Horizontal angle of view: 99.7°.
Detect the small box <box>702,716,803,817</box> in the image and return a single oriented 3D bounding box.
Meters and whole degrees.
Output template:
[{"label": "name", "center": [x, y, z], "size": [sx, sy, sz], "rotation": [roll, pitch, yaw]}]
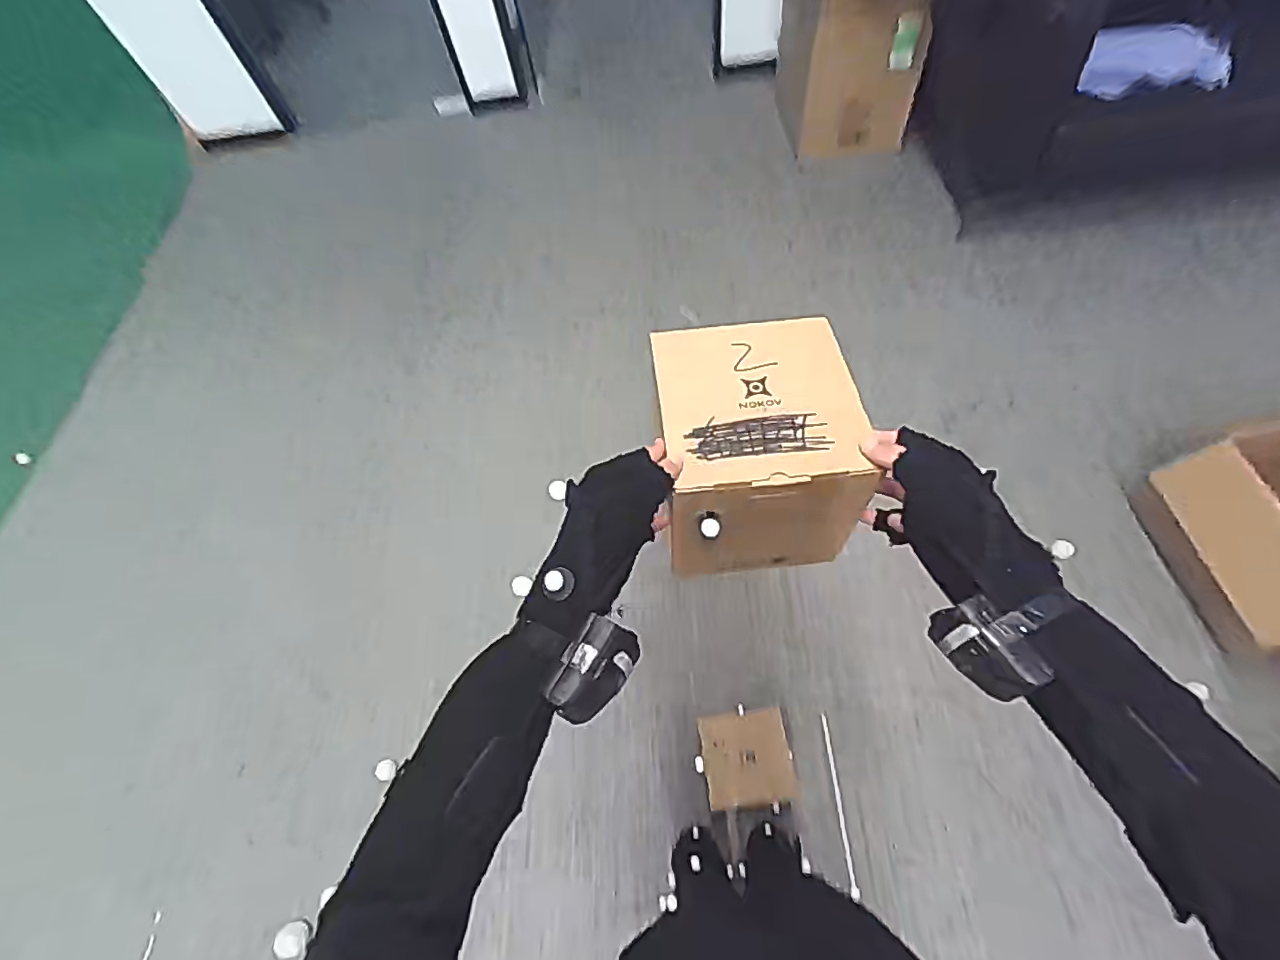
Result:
[{"label": "small box", "center": [0.228, 0.607, 1.148], "size": [0.179, 0.176, 0.168], "rotation": [-9, 59, 3]}]
